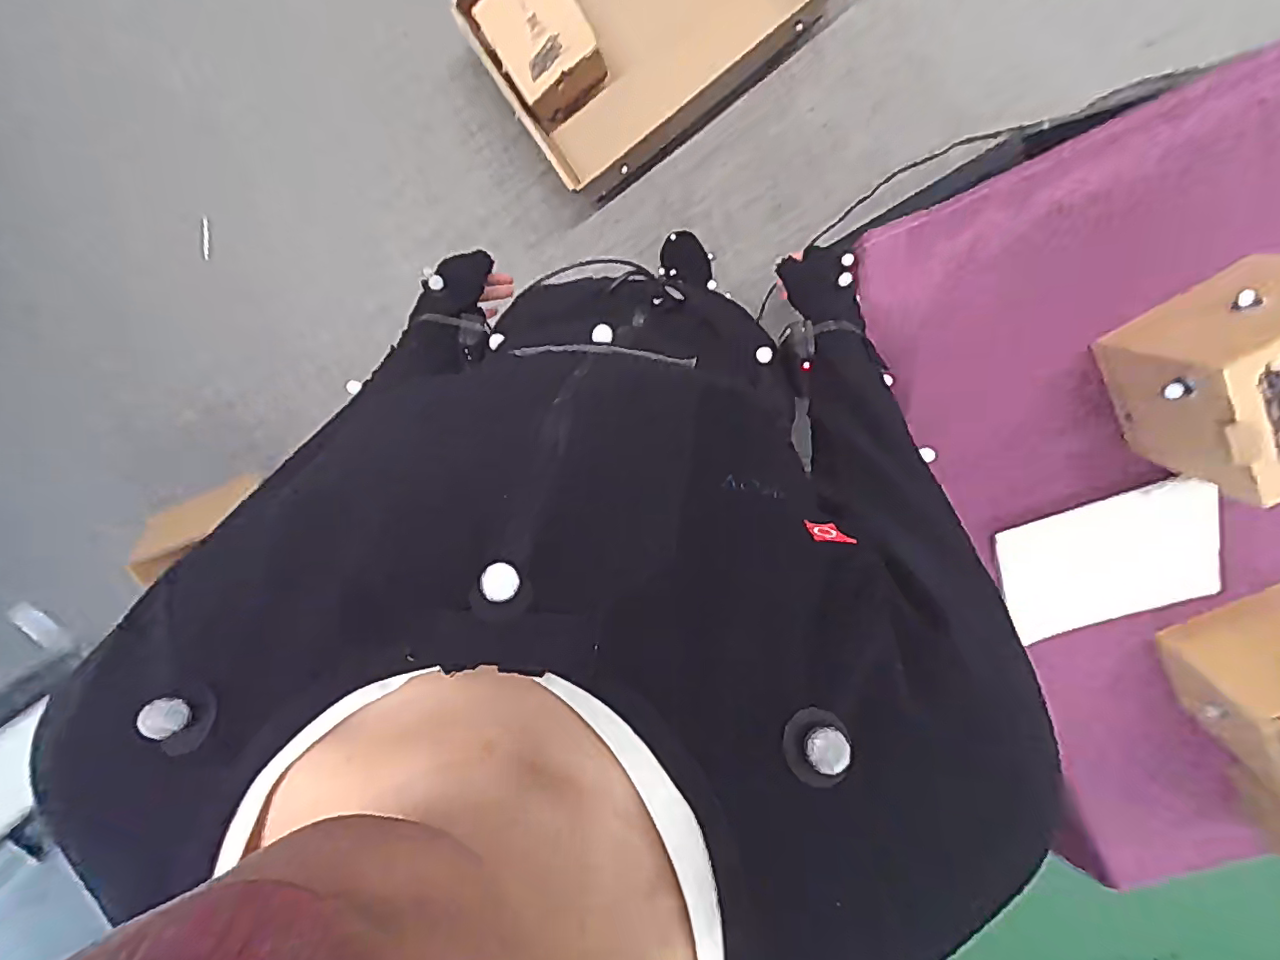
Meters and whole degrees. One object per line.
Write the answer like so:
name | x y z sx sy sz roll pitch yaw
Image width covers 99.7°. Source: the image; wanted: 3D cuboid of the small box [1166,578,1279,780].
small box | 0.853 0.262 0.708 0.179 0.176 0.168 -32 107 15

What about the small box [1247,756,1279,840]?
small box | 1.058 0.496 0.789 0.179 0.176 0.168 -28 108 15
